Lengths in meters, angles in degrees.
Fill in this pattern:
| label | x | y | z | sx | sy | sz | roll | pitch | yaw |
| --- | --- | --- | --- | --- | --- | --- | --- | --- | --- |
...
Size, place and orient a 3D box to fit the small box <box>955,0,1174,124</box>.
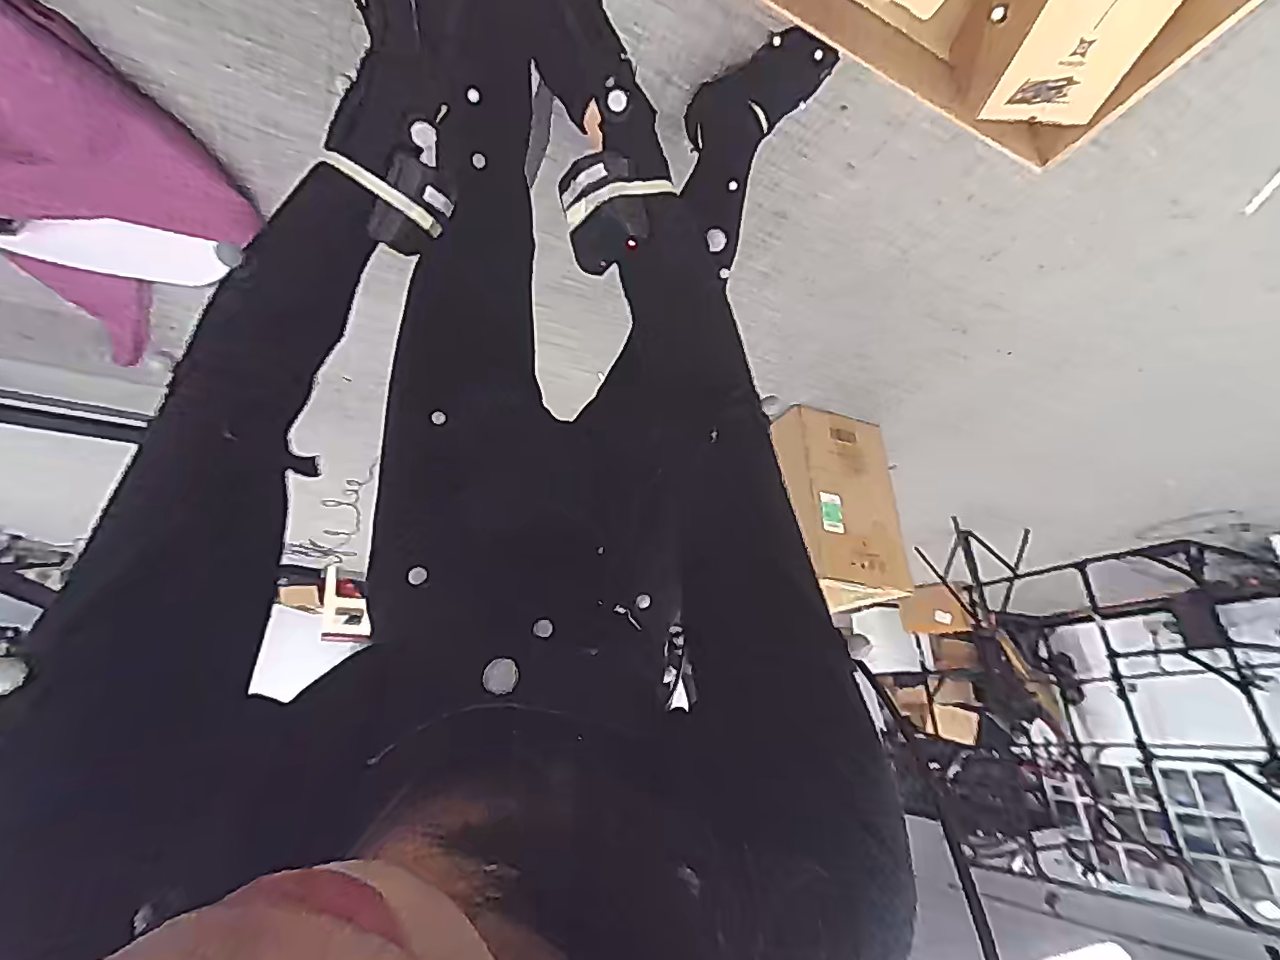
| label | x | y | z | sx | sy | sz | roll | pitch | yaw |
| --- | --- | --- | --- | --- | --- | --- | --- | --- | --- |
| small box | 0.566 | -0.634 | 0.745 | 0.168 | 0.176 | 0.179 | 2 | 155 | -3 |
